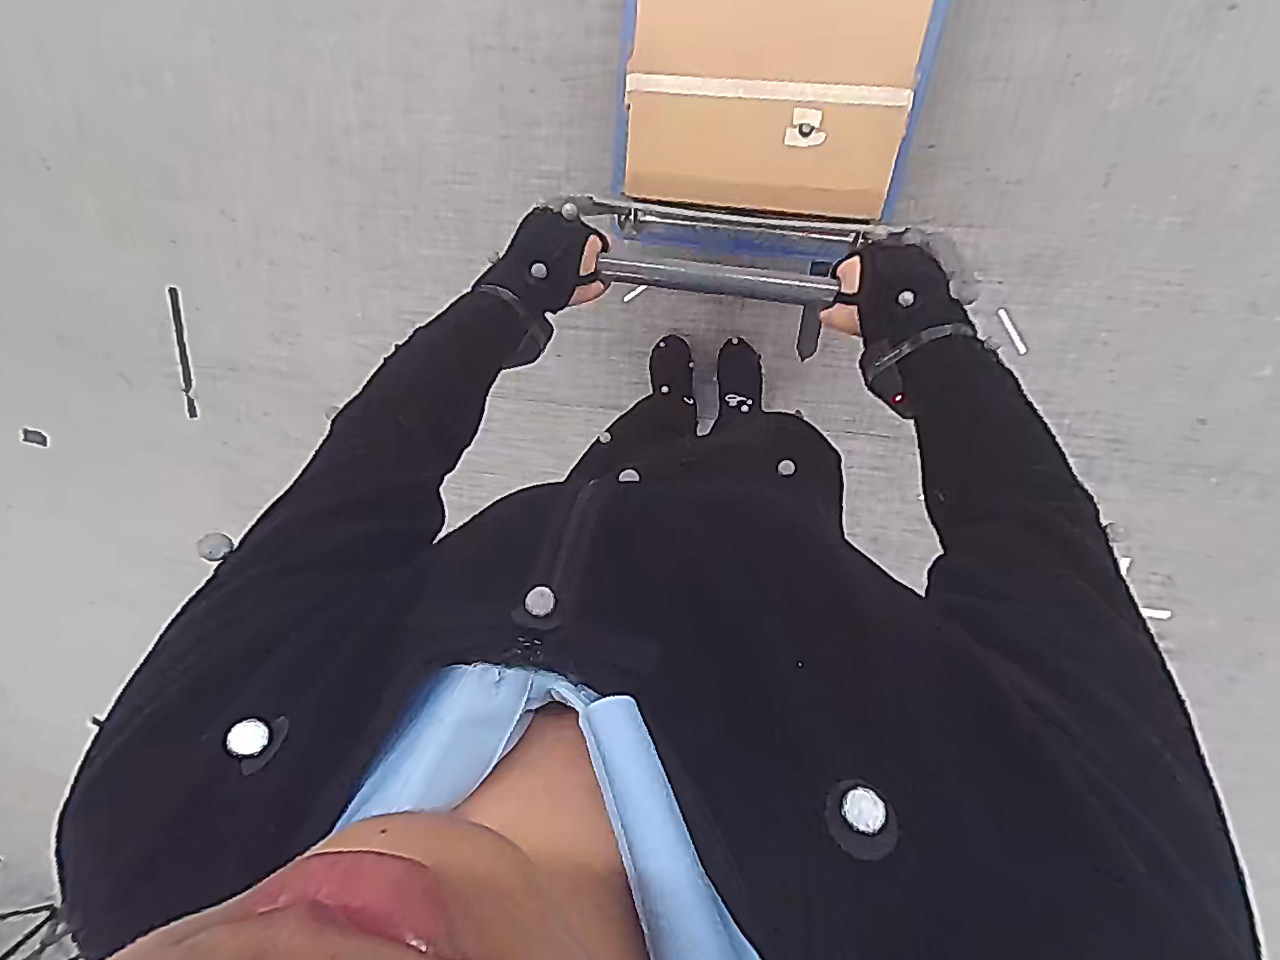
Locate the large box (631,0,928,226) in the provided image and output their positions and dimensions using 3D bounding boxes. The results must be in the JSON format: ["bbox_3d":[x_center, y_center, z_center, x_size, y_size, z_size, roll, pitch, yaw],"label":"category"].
[{"bbox_3d":[0.212,-0.631,0.941,0.408,0.320,0.320,8,115,7],"label":"large box"}]
